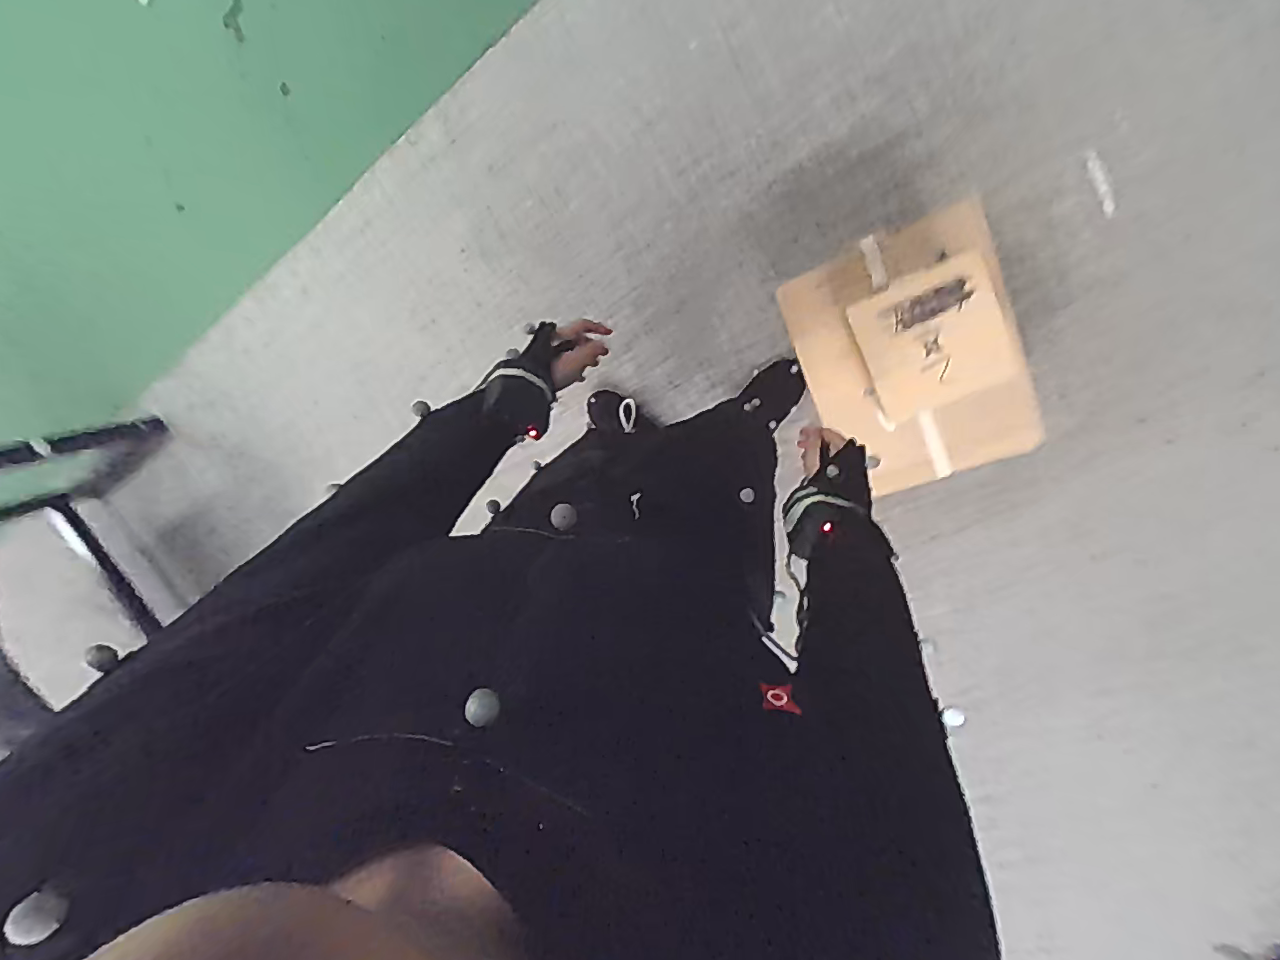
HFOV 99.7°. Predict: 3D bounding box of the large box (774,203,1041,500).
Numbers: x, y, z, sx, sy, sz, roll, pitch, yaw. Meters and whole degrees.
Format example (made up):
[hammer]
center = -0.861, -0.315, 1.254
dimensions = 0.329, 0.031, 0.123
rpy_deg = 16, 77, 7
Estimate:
[large box]
center = 0.470, -0.235, 1.020
dimensions = 0.320, 0.320, 0.408
rpy_deg = -20, 103, 21
